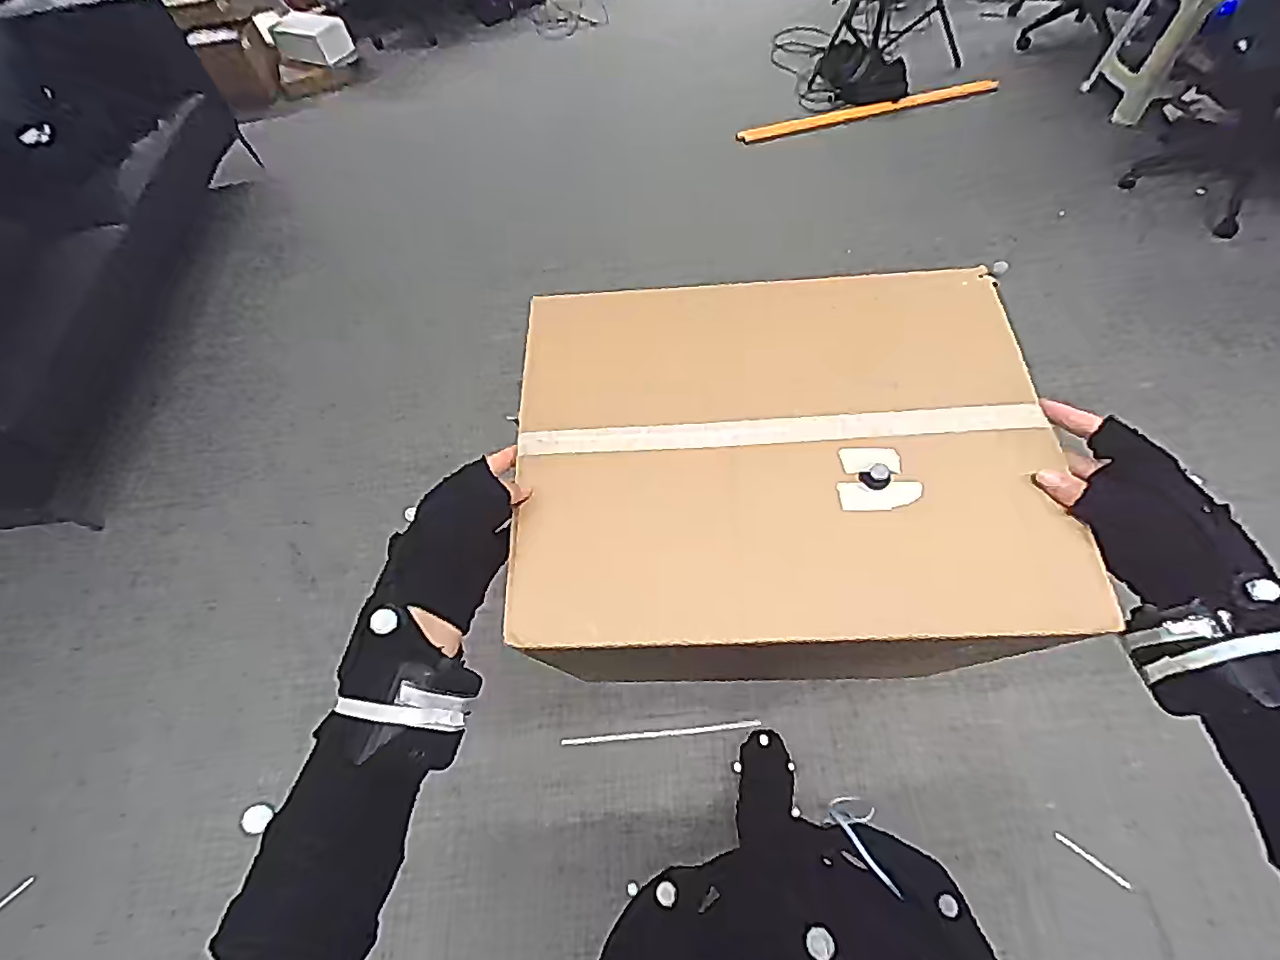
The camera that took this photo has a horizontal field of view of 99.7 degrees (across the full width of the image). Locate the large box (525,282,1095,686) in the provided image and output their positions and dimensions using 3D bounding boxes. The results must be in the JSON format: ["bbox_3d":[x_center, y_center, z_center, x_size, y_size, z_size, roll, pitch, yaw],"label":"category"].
[{"bbox_3d":[0.118,0.034,0.573,0.408,0.320,0.320,-3,65,4],"label":"large box"}]
